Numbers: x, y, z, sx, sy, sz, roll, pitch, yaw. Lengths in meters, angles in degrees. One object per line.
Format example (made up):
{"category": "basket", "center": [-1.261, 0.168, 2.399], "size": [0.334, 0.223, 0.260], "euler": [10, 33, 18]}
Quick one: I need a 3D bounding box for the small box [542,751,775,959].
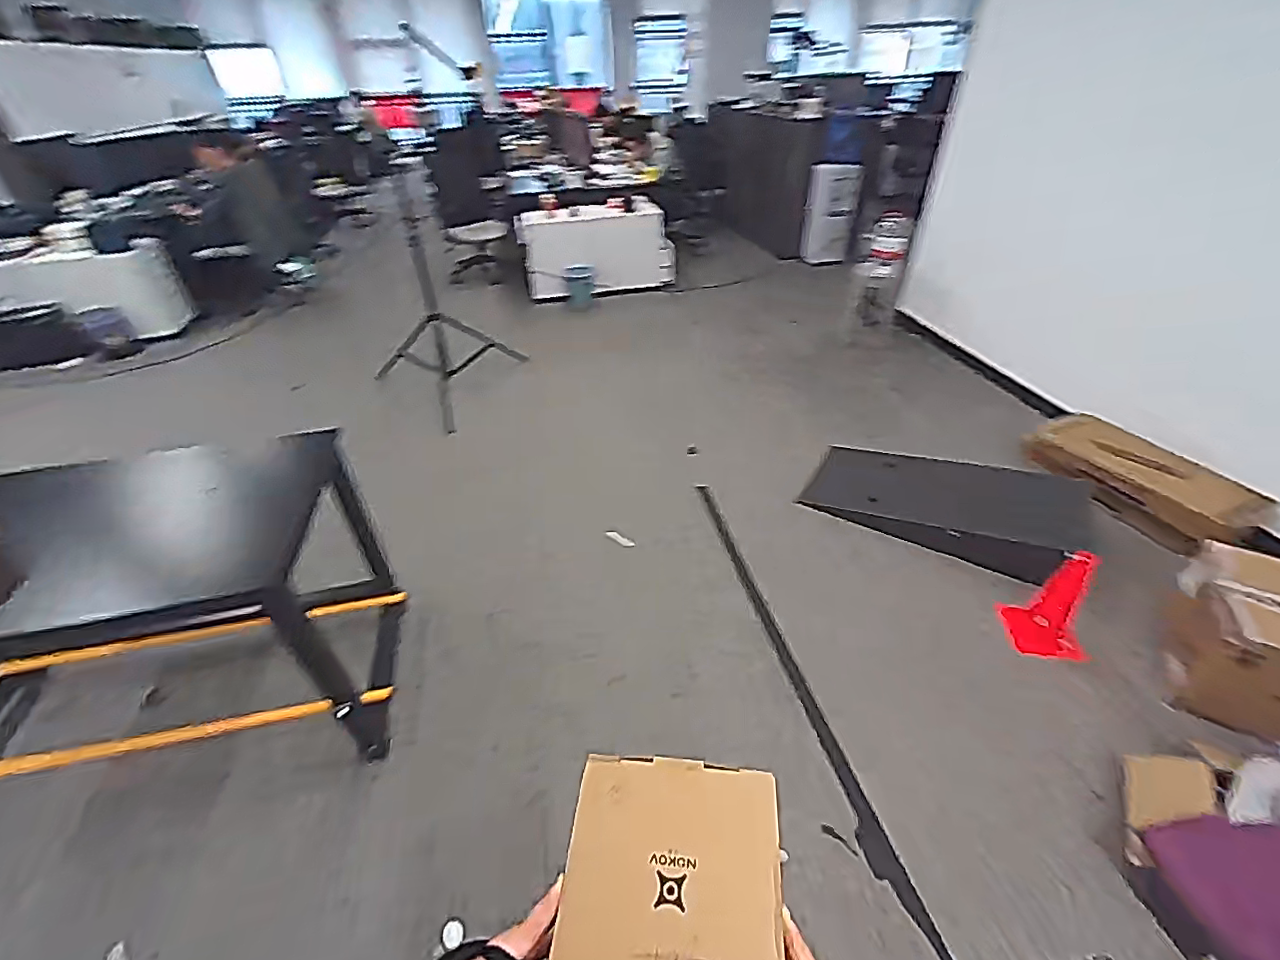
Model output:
{"category": "small box", "center": [0.023, 0.363, 0.467], "size": [0.168, 0.176, 0.179], "euler": [2, 44, 8]}
